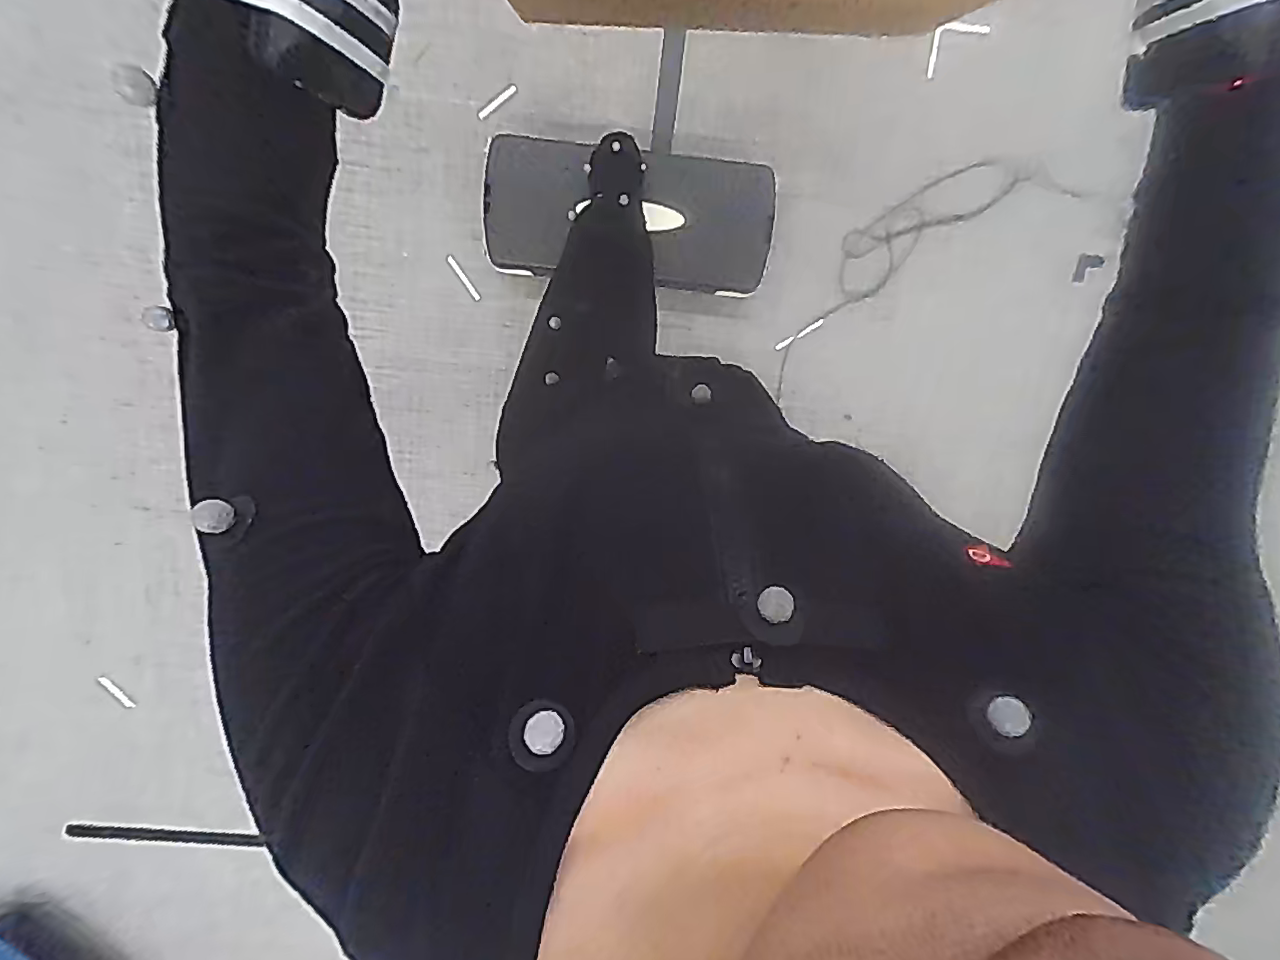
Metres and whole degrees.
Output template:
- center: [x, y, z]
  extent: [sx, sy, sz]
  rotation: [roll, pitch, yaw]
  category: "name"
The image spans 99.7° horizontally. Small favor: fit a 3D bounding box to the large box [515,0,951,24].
- center: [0.085, -0.514, 0.333]
  extent: [0.408, 0.320, 0.320]
  rotation: [0, 121, -2]
  category: "large box"
